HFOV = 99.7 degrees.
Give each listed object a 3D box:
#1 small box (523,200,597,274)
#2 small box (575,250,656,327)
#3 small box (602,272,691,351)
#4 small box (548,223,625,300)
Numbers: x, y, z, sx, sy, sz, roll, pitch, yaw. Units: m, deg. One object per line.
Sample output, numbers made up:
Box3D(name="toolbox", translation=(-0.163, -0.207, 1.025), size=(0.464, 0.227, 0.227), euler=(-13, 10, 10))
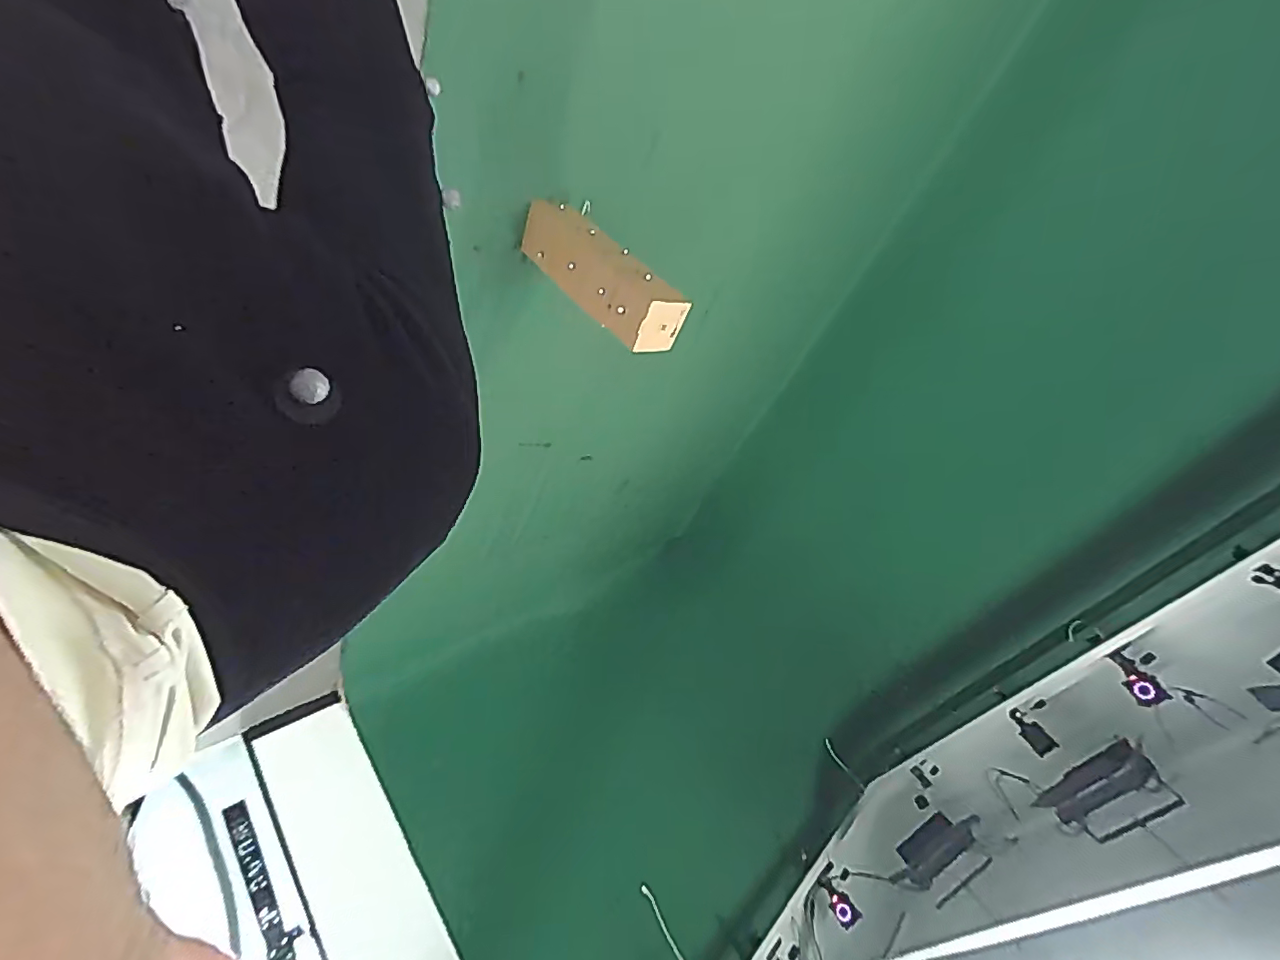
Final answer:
Box3D(name="small box", translation=(-0.280, -0.826, 1.852), size=(0.168, 0.176, 0.179), euler=(-18, 147, -42))
Box3D(name="small box", translation=(-0.083, -0.608, 1.712), size=(0.168, 0.176, 0.179), euler=(-17, 146, -41))
Box3D(name="small box", translation=(0.014, -0.506, 1.626), size=(0.179, 0.176, 0.168), euler=(-14, 143, -43))
Box3D(name="small box", translation=(-0.182, -0.715, 1.785), size=(0.168, 0.176, 0.179), euler=(-16, 145, -43))
